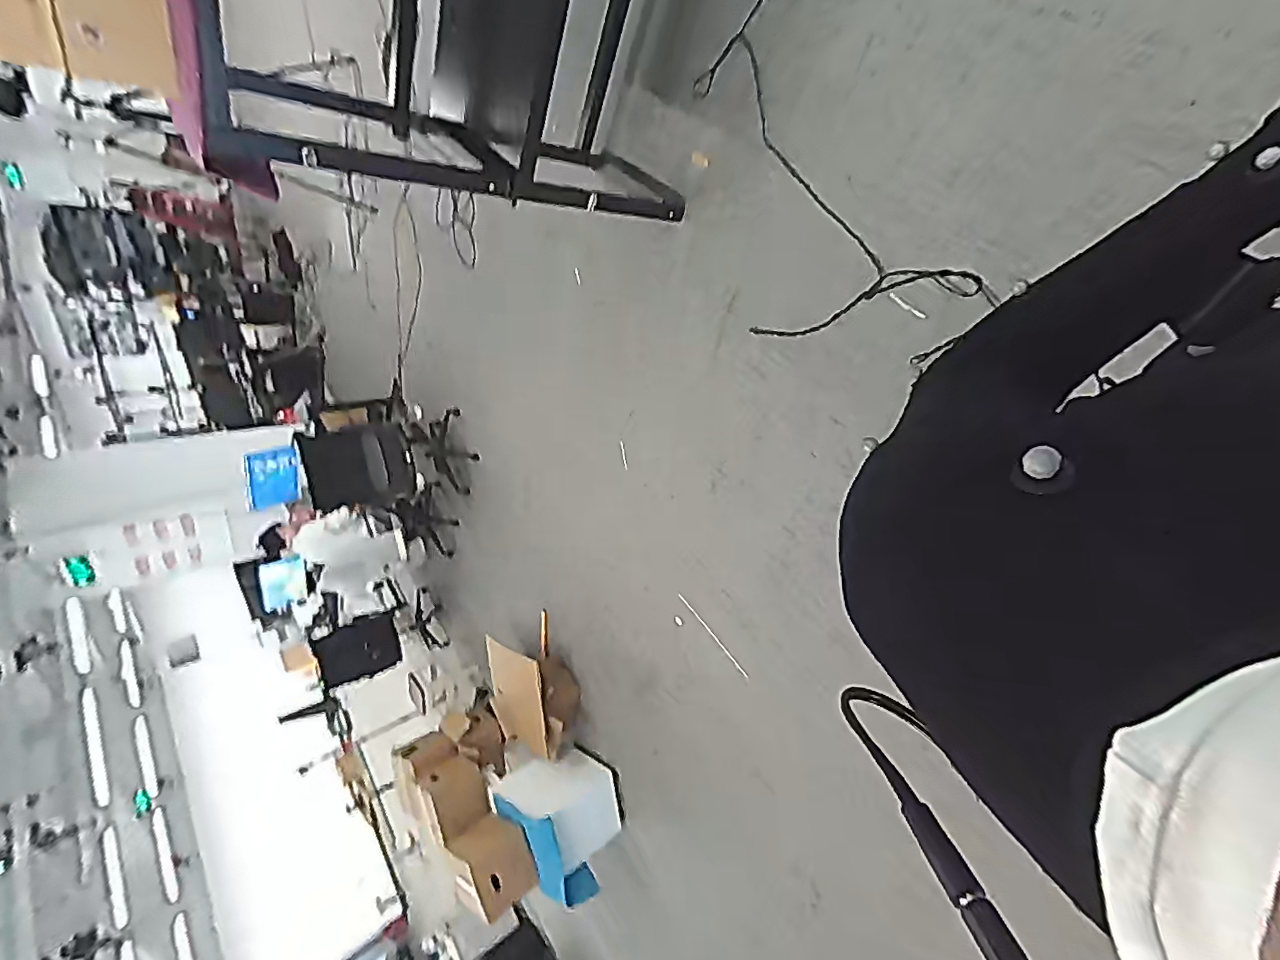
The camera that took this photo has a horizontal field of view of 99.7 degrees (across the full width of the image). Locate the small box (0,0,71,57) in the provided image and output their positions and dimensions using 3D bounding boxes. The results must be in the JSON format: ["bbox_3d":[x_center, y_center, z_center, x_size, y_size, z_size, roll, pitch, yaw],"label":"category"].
[{"bbox_3d":[-1.129,-0.871,0.941,0.179,0.176,0.168,46,131,31],"label":"small box"}]

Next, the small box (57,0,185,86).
[{"bbox_3d":[-1.007,-0.899,1.045,0.168,0.176,0.179,46,131,29],"label":"small box"}]
